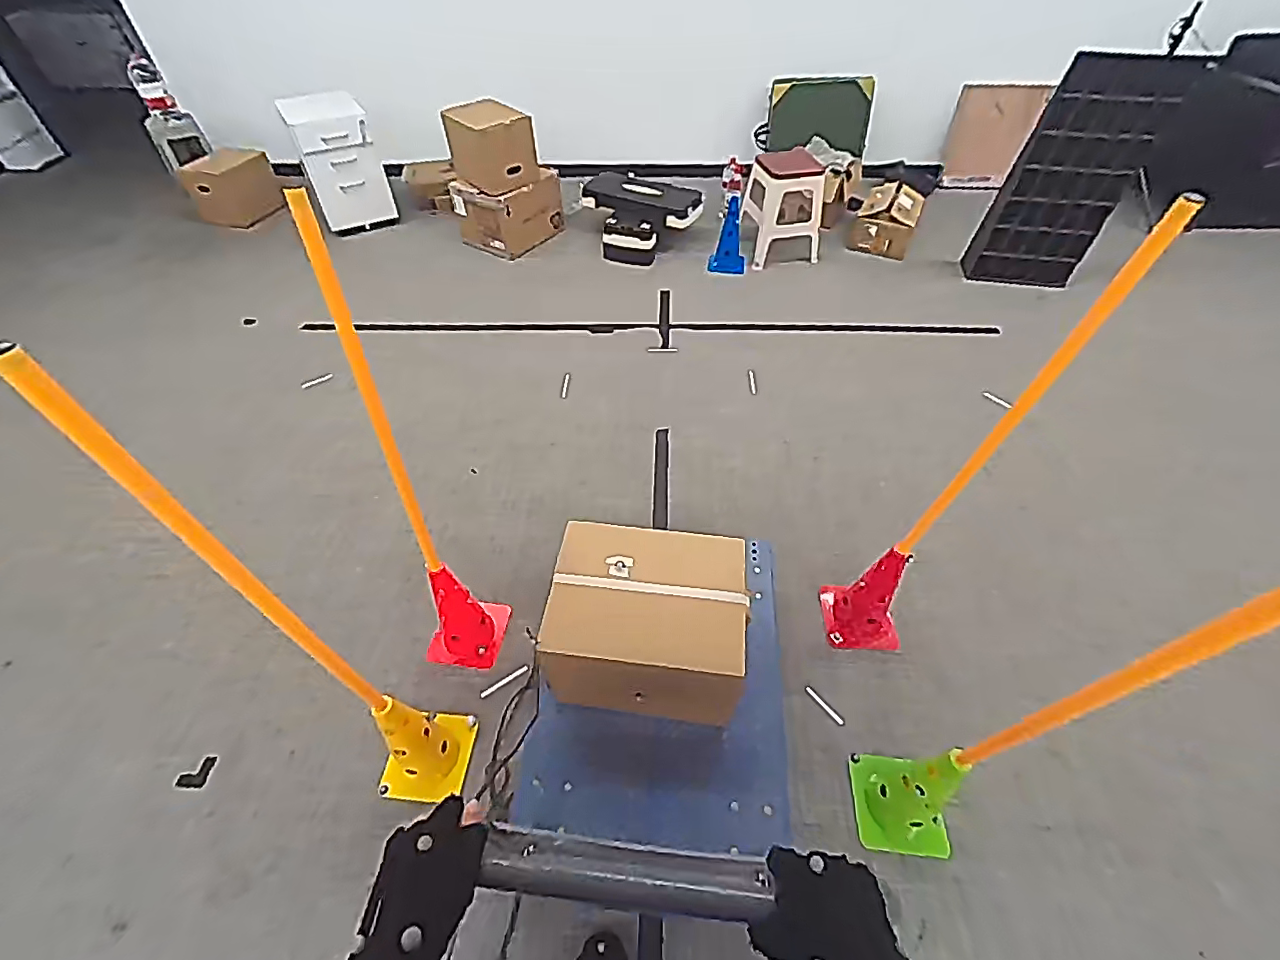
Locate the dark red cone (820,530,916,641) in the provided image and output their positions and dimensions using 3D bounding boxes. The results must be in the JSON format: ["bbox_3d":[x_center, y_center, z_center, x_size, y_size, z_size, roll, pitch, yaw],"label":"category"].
[{"bbox_3d":[0.645,0.267,1.457,0.201,0.394,0.202,2,49,0],"label":"dark red cone"}]

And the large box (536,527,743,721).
[{"bbox_3d":[0.017,0.334,1.238,0.408,0.320,0.320,5,50,6],"label":"large box"}]

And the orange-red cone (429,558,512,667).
[{"bbox_3d":[-0.488,0.322,1.446,0.198,0.360,0.199,7,48,6],"label":"orange-red cone"}]

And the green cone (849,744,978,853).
[{"bbox_3d":[0.608,0.640,1.149,0.202,0.368,0.200,5,49,3],"label":"green cone"}]
